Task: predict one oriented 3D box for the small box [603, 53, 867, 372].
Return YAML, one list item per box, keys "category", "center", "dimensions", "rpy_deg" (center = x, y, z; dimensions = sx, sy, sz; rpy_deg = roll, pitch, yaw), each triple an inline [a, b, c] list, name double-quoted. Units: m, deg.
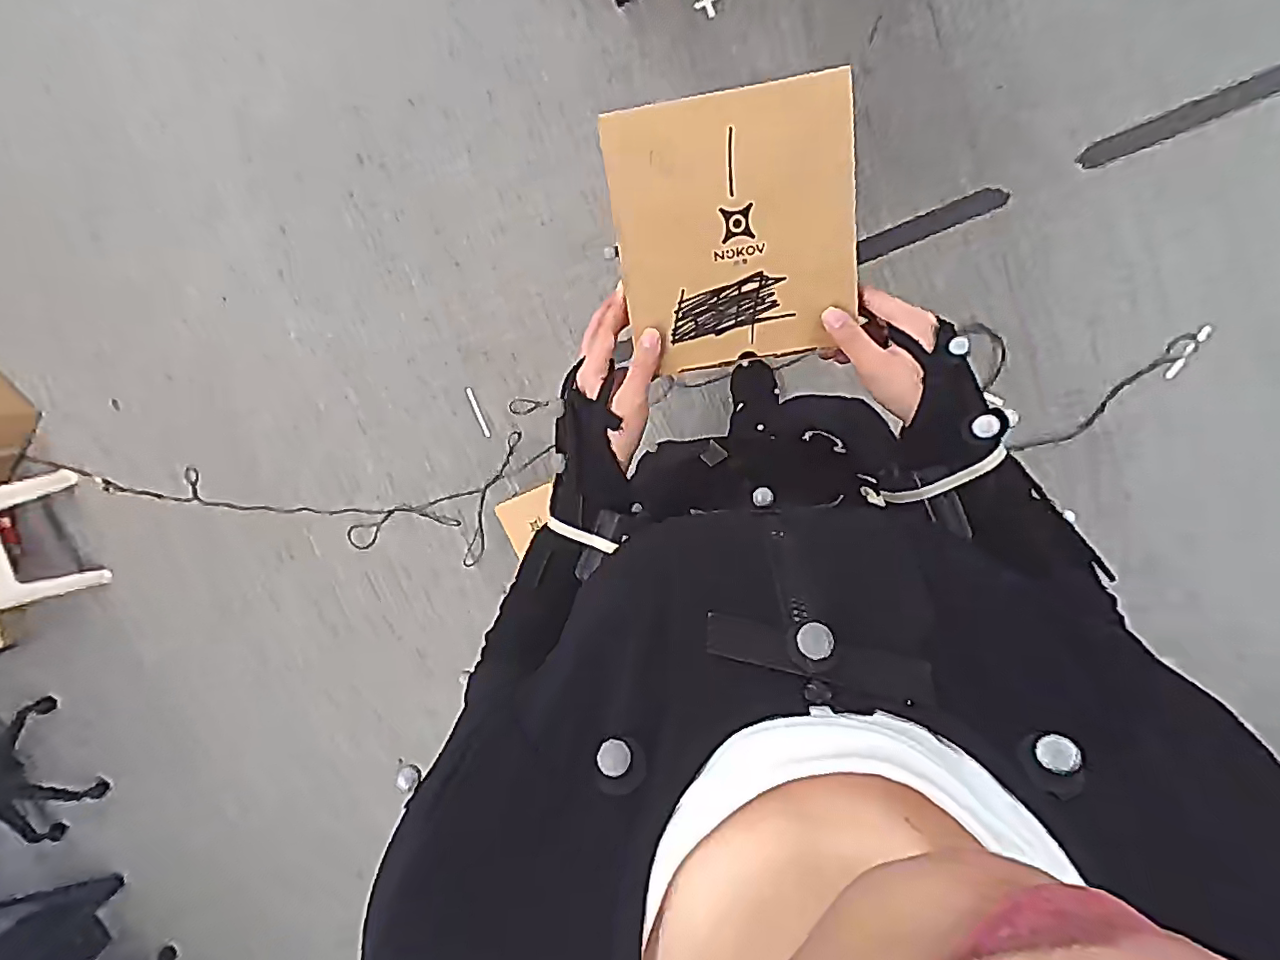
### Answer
- category: "small box"
  center: [0.069, -0.197, 0.436]
  dimensions: [0.168, 0.176, 0.179]
  rpy_deg: [-8, 109, 3]
